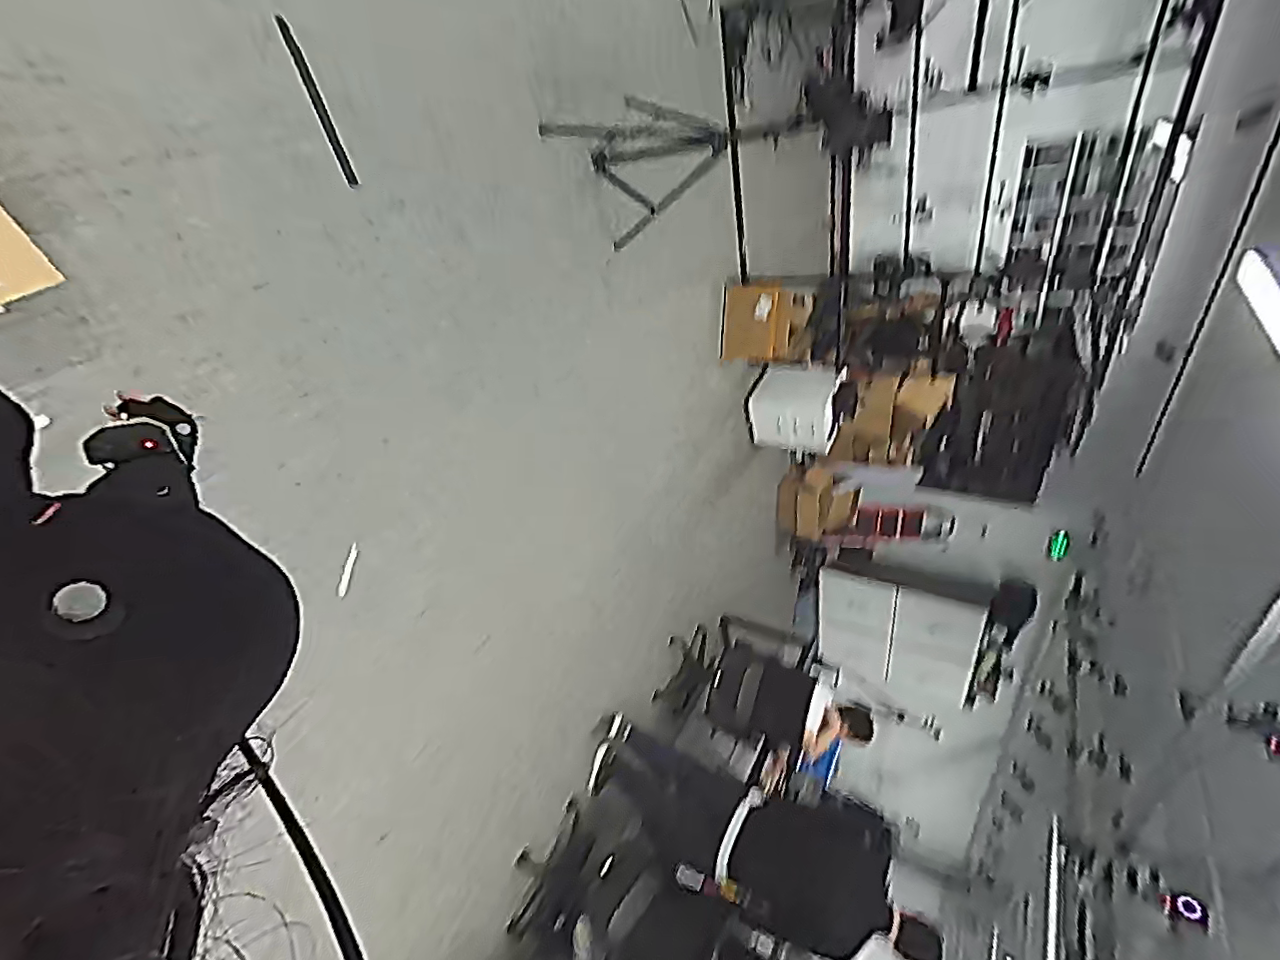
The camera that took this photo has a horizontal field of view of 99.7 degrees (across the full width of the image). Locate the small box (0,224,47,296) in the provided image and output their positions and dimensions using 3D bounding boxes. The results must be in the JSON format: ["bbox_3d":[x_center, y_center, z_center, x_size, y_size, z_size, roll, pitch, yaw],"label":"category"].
[{"bbox_3d":[-1.150,-0.377,0.876,0.168,0.176,0.179,-50,140,-38],"label":"small box"}]
